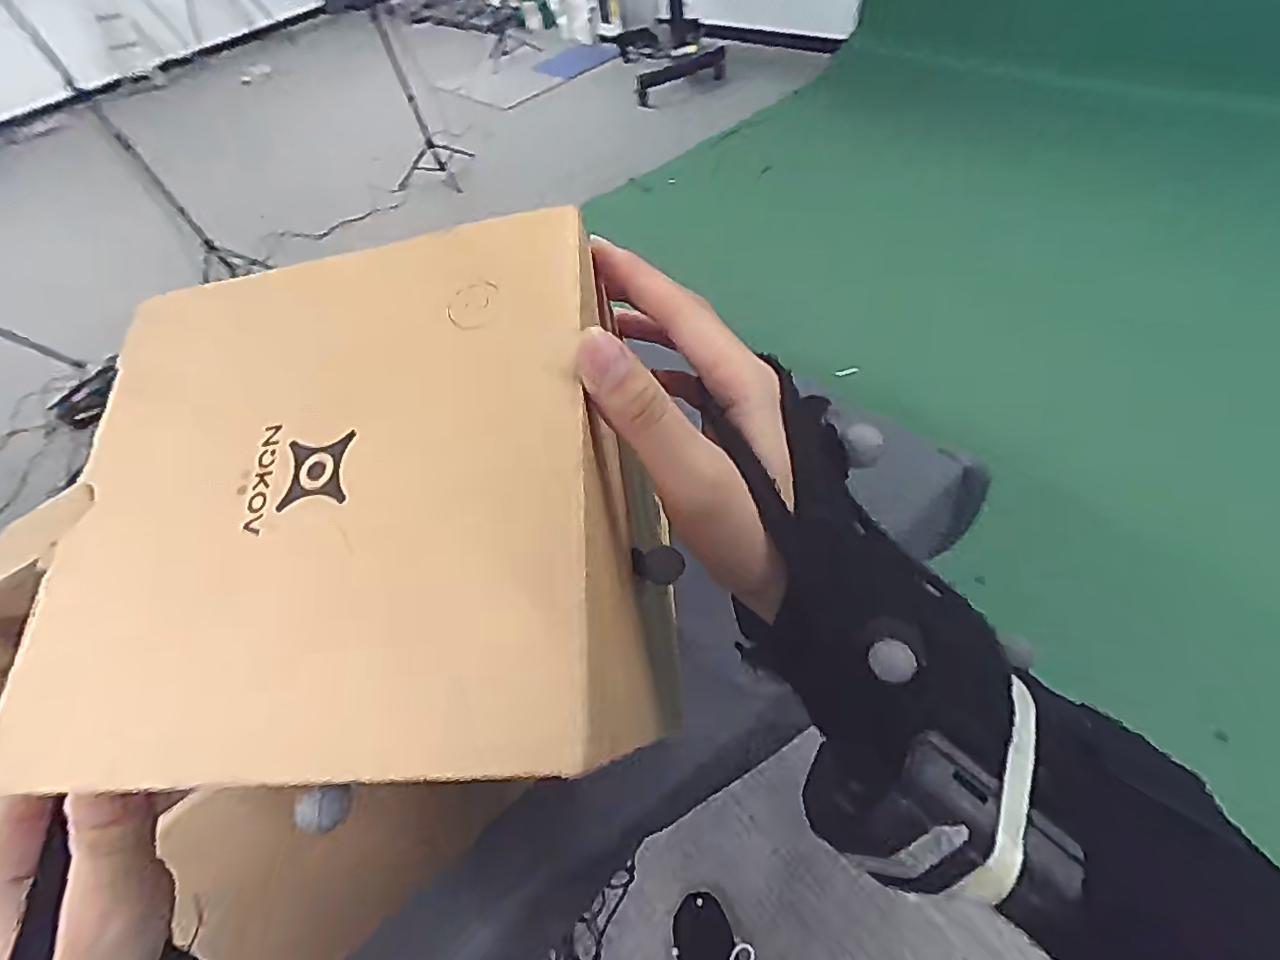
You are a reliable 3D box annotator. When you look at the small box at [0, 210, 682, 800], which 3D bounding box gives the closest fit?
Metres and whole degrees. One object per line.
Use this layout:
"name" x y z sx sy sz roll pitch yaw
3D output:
"small box" -0.078 0.027 0.230 0.179 0.176 0.168 -7 67 11
